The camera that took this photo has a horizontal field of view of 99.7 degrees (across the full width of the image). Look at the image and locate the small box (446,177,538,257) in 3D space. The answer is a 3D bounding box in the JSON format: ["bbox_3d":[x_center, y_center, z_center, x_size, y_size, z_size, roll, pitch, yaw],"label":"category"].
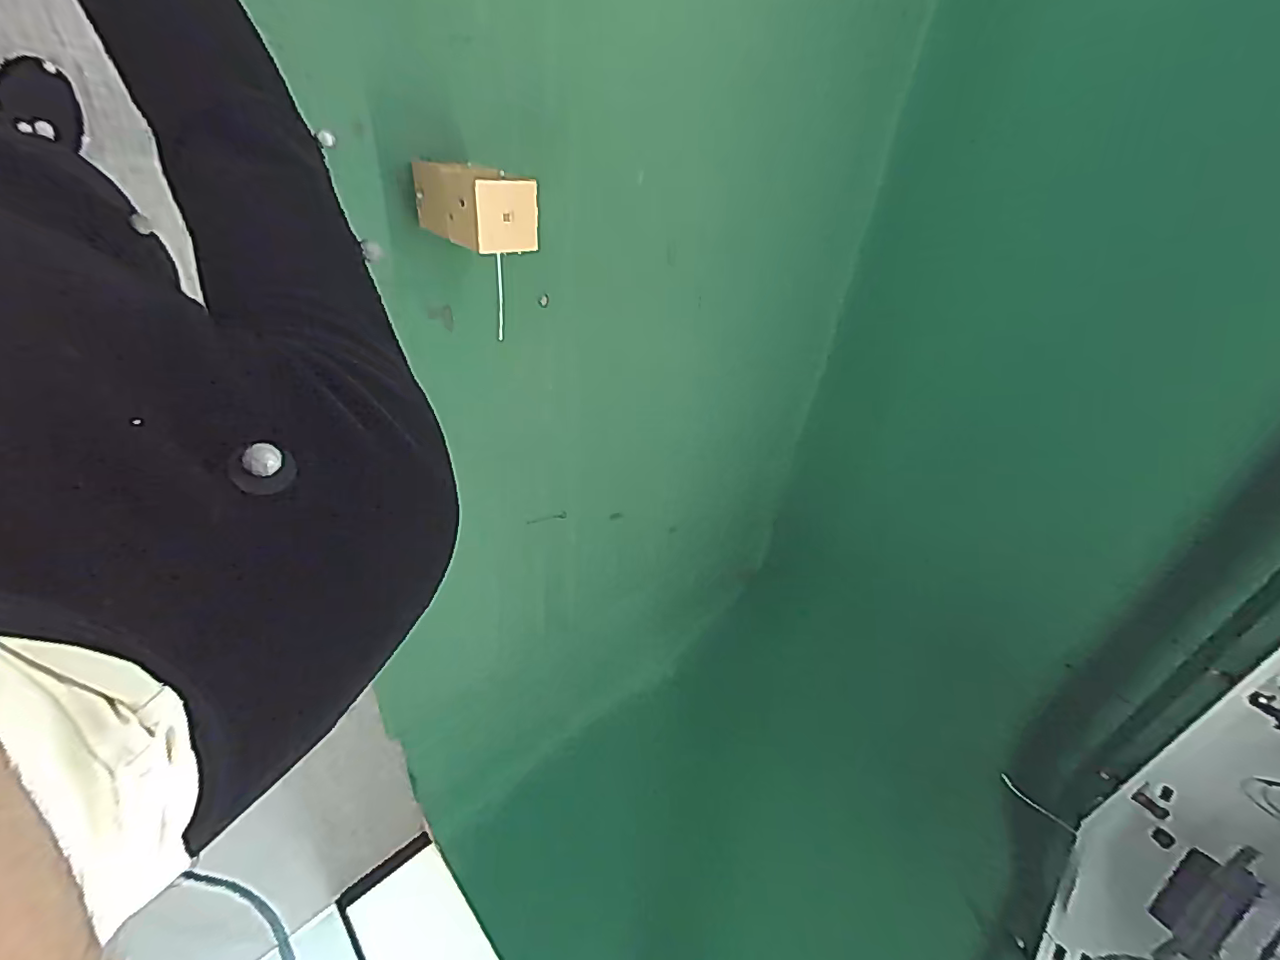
[{"bbox_3d":[-0.386,-0.682,1.399,0.179,0.176,0.168,-25,133,-38],"label":"small box"}]

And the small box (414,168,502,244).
[{"bbox_3d":[-0.495,-0.757,1.490,0.179,0.176,0.168,-23,133,-37],"label":"small box"}]
